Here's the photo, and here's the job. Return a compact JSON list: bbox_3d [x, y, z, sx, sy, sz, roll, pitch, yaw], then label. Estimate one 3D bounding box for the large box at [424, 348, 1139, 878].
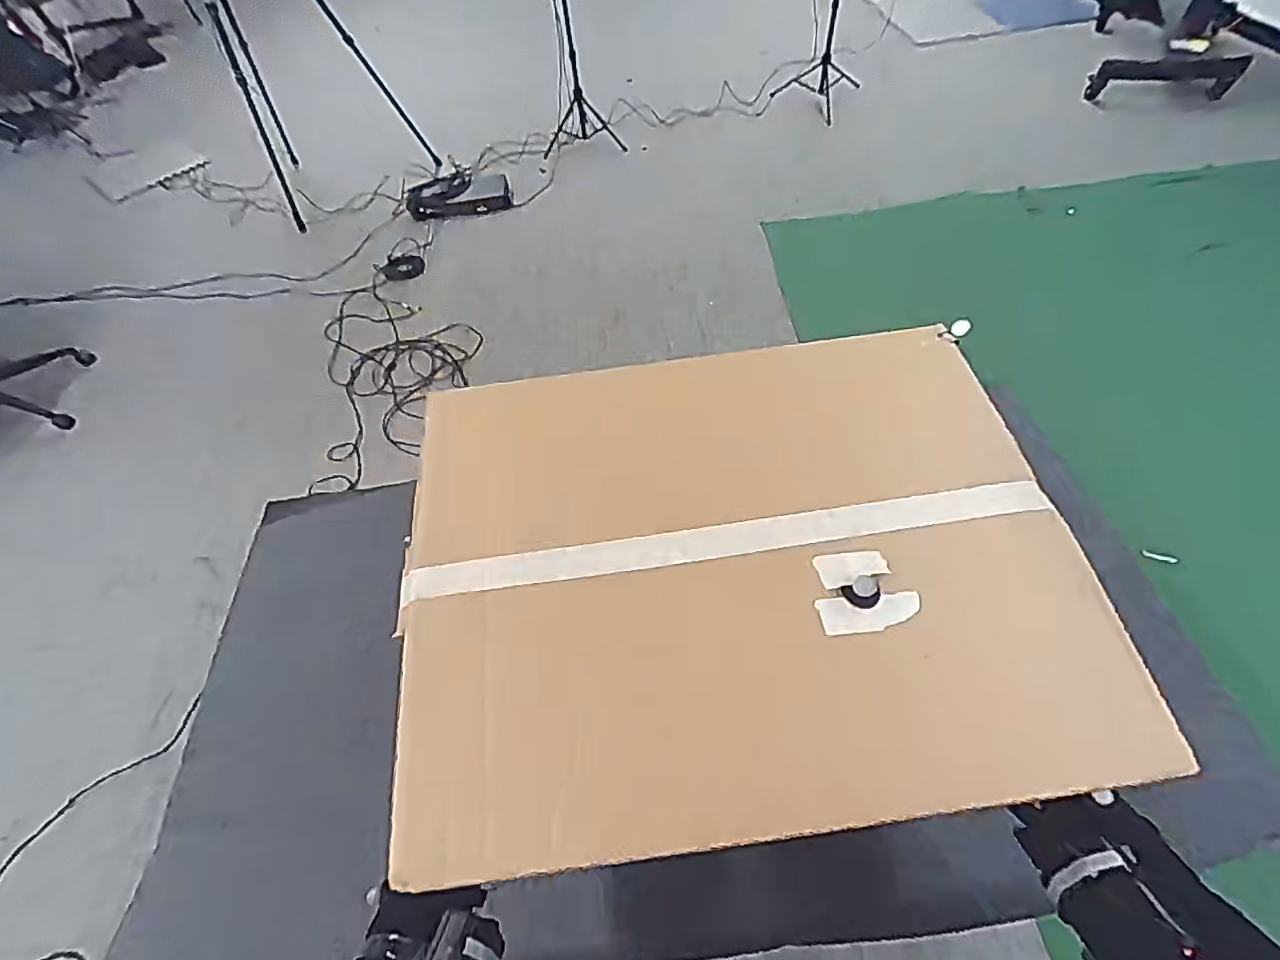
[{"bbox_3d":[0.065,0.124,0.492,0.408,0.320,0.320,-8,60,-1],"label":"large box"}]
